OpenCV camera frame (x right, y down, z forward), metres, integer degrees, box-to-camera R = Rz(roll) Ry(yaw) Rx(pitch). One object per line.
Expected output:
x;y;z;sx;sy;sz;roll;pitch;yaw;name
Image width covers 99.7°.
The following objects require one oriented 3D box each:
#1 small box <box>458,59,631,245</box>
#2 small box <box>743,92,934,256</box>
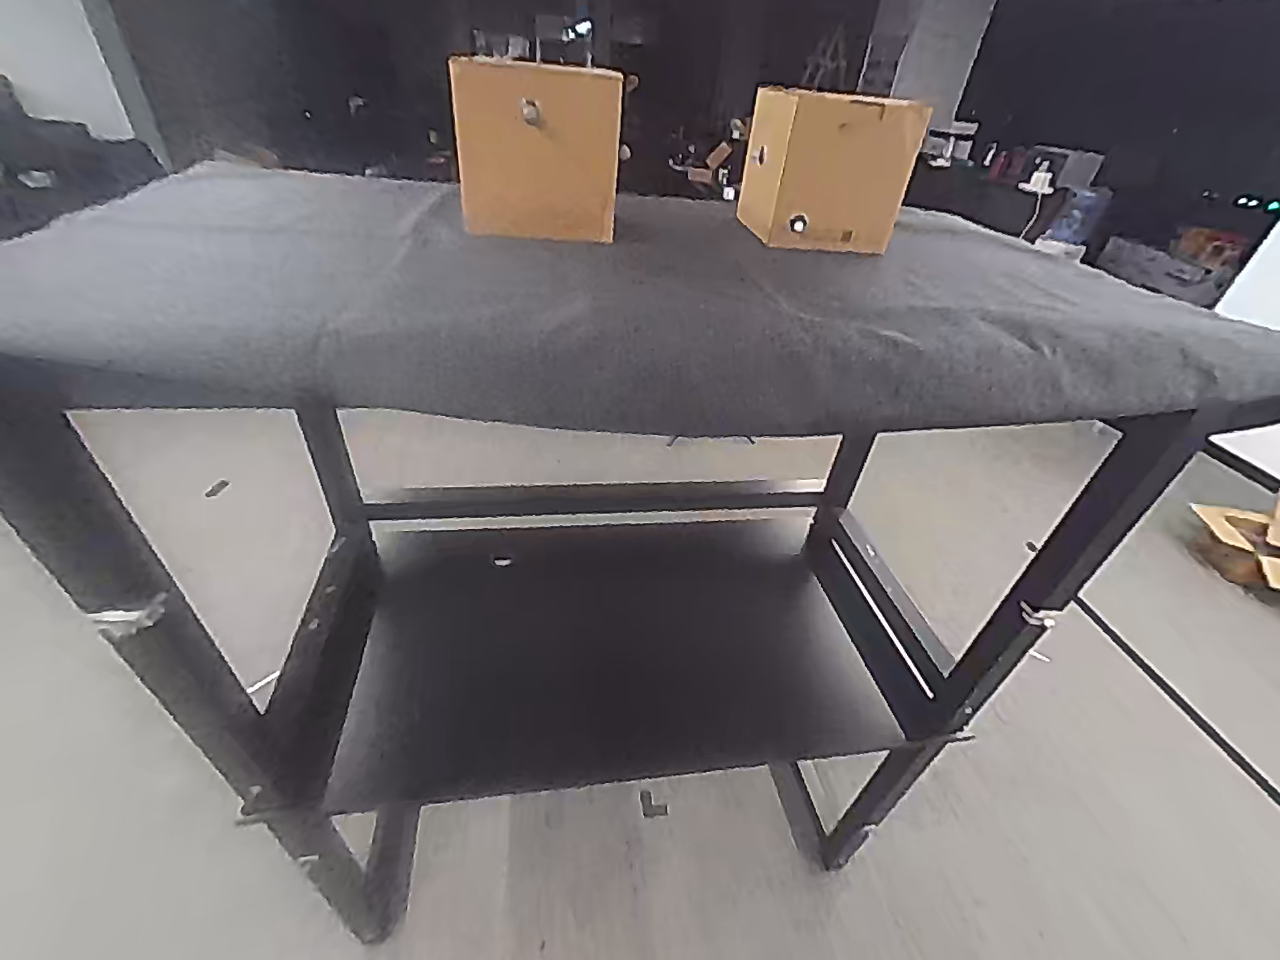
-0.108;-0.396;0.659;0.179;0.176;0.168;2;38;-5;small box
0.251;-0.414;0.733;0.168;0.176;0.179;1;37;-7;small box
